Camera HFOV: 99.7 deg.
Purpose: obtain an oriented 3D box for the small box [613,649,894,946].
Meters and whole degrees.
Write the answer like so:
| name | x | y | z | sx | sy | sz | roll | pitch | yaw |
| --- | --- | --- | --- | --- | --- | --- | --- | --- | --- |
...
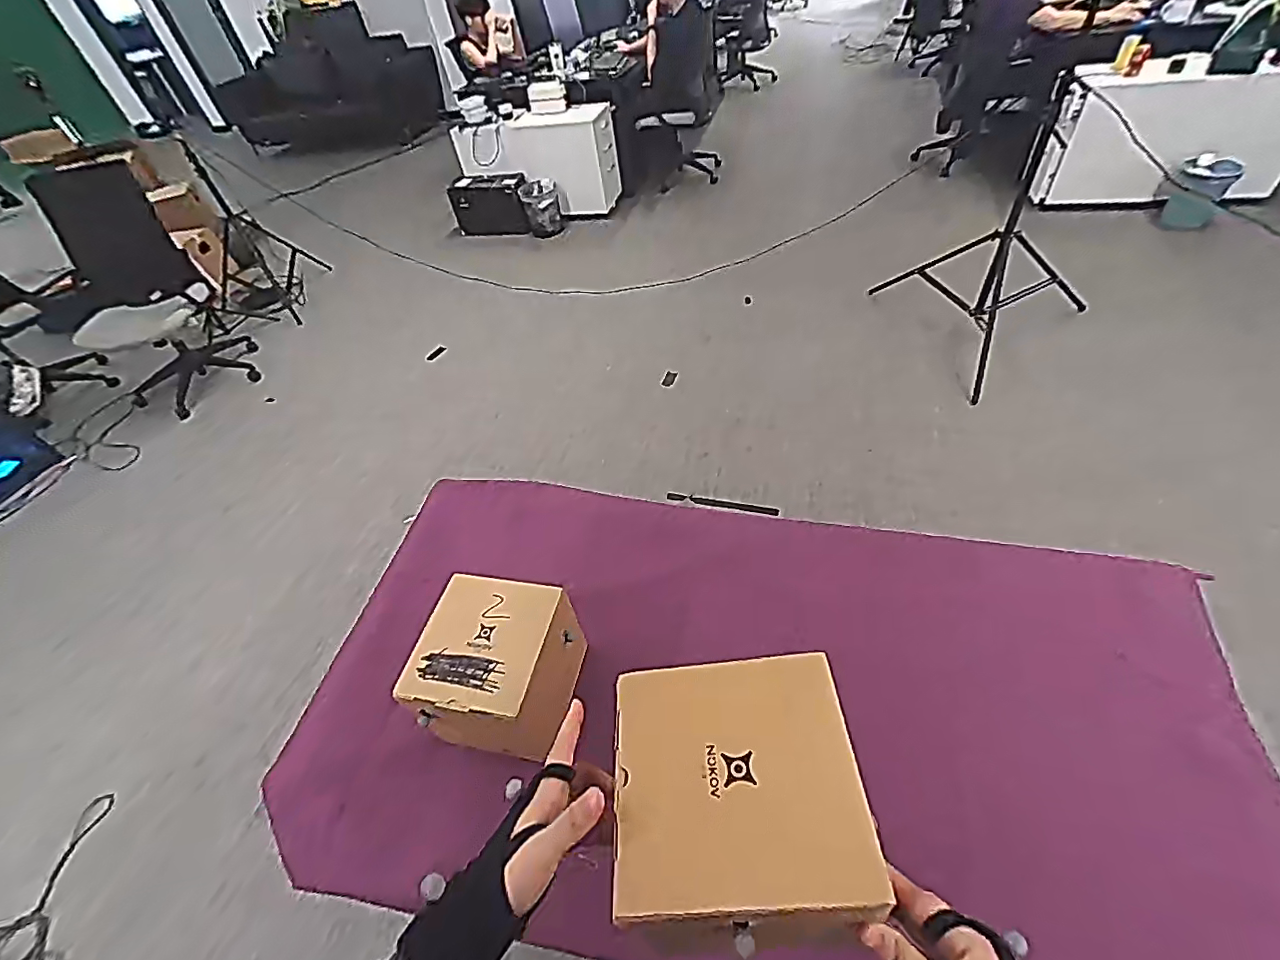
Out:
| name | x | y | z | sx | sy | sz | roll | pitch | yaw |
| --- | --- | --- | --- | --- | --- | --- | --- | --- | --- |
| small box | 0.082 | 0.262 | 0.443 | 0.179 | 0.176 | 0.168 | -10 | 42 | 8 |
